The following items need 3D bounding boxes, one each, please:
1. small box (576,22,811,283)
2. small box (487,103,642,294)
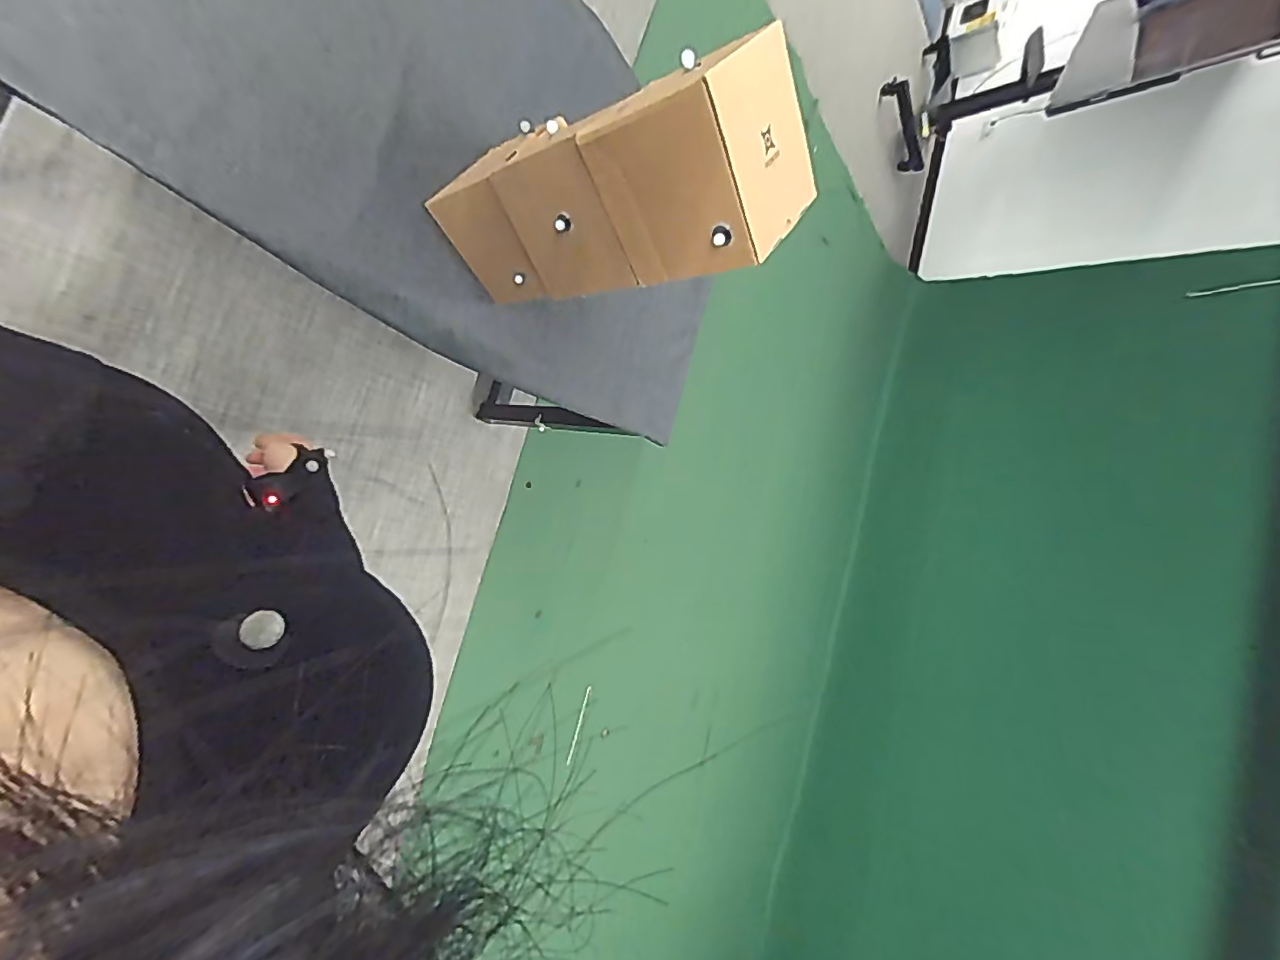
[{"bbox_3d":[0.061,-0.340,0.590,0.168,0.176,0.179,-53,132,-29],"label":"small box"},{"bbox_3d":[-0.058,-0.357,0.699,0.168,0.176,0.179,-51,130,-31],"label":"small box"}]
